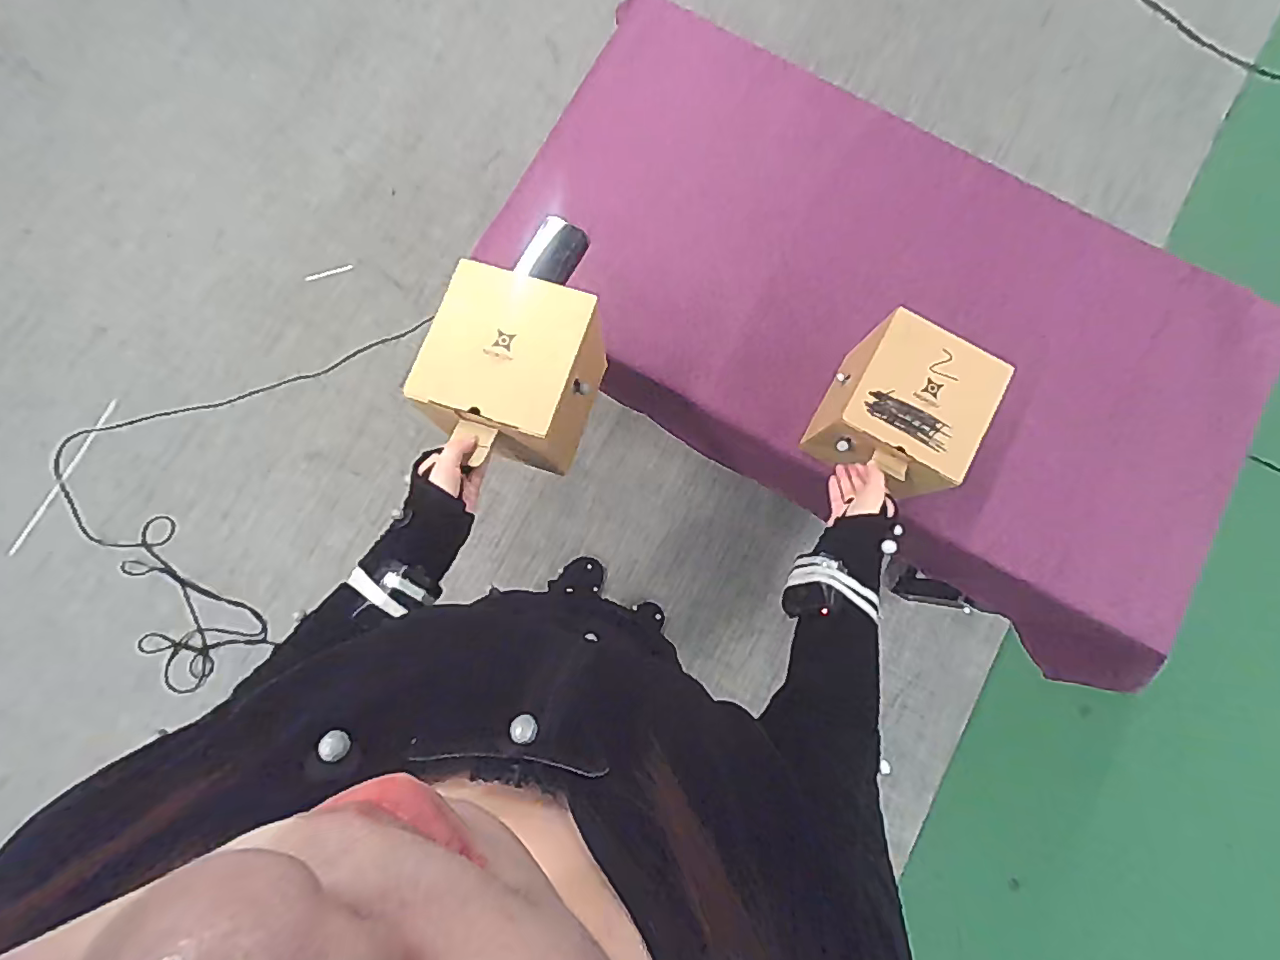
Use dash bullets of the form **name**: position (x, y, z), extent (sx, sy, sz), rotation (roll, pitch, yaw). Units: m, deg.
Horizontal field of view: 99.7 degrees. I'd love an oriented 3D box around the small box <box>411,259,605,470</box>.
- **small box**: position (-0.147, -0.132, 0.675), extent (0.168, 0.176, 0.179), rotation (18, 78, 4)
